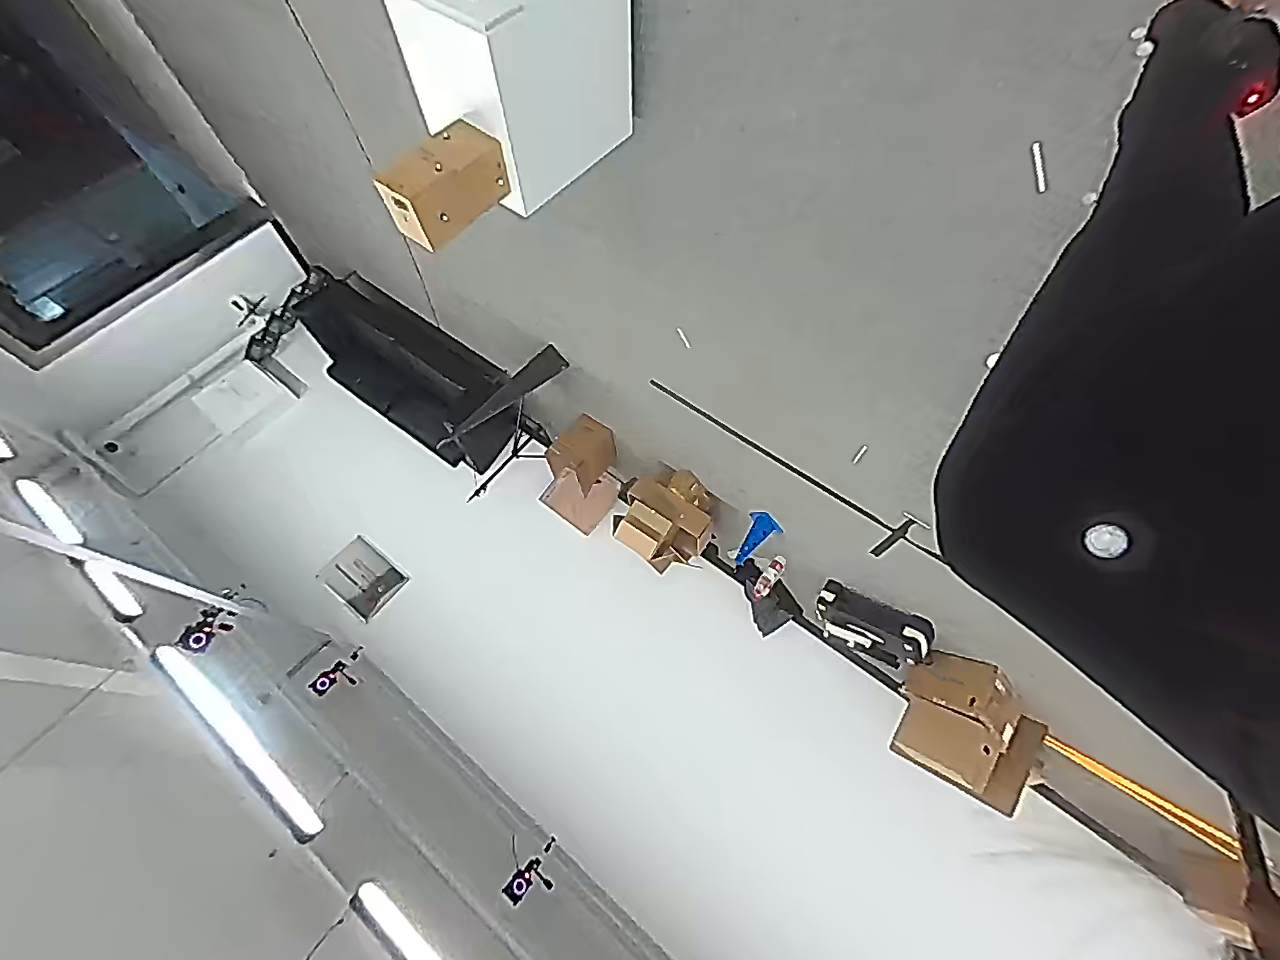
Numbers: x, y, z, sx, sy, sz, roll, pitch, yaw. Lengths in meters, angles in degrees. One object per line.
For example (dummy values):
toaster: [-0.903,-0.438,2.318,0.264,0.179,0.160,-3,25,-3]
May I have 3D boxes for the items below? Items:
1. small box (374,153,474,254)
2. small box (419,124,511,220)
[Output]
small box: [-0.616,-0.803,1.563,0.168,0.176,0.179,36,161,19]
small box: [-0.514,-0.922,1.612,0.179,0.176,0.168,36,160,15]
